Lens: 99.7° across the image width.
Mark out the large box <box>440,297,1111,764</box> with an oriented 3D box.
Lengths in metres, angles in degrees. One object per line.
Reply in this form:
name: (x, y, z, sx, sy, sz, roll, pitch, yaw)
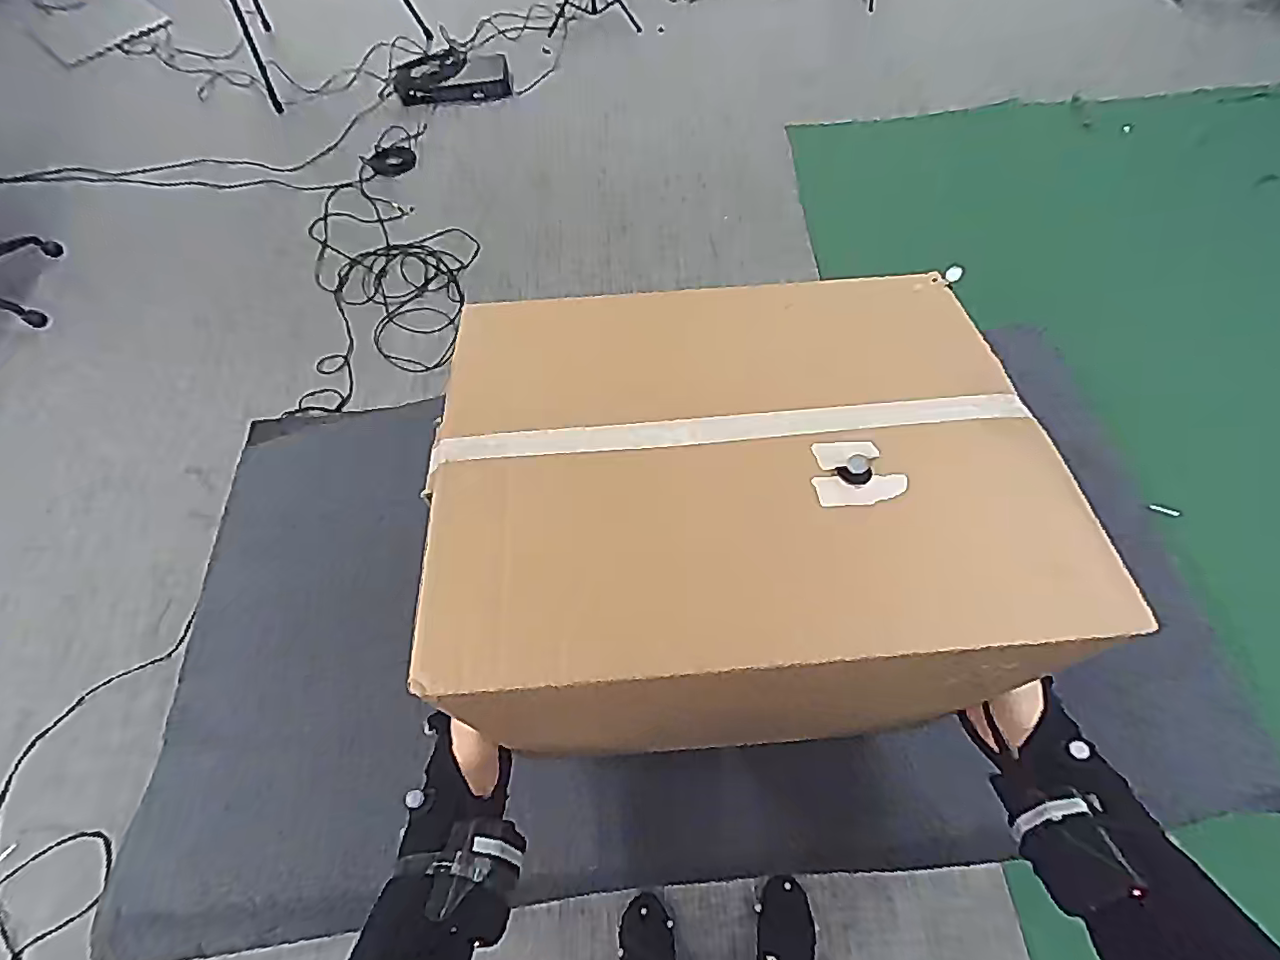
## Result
large box: (0.070, 0.062, 0.515, 0.408, 0.320, 0.320, -5, 57, -2)
